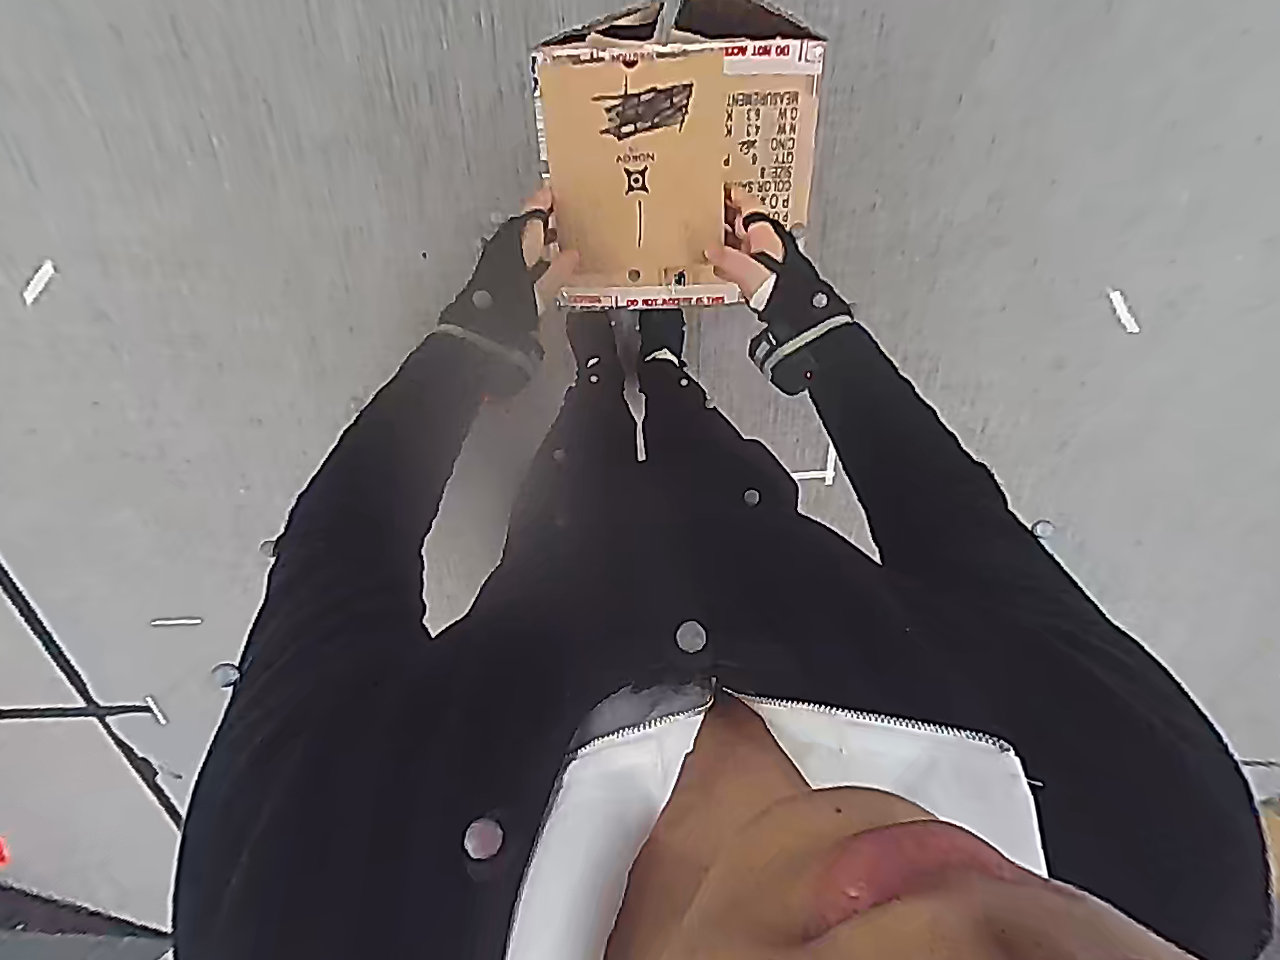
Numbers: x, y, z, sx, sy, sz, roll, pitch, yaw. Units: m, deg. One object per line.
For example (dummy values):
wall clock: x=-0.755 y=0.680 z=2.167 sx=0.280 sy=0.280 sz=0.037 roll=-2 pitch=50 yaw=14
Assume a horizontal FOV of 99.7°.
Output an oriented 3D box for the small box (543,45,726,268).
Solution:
small box: x=-0.004 y=-0.329 z=0.581 sx=0.168 sy=0.176 sz=0.179 roll=-5 pitch=114 yaw=0
